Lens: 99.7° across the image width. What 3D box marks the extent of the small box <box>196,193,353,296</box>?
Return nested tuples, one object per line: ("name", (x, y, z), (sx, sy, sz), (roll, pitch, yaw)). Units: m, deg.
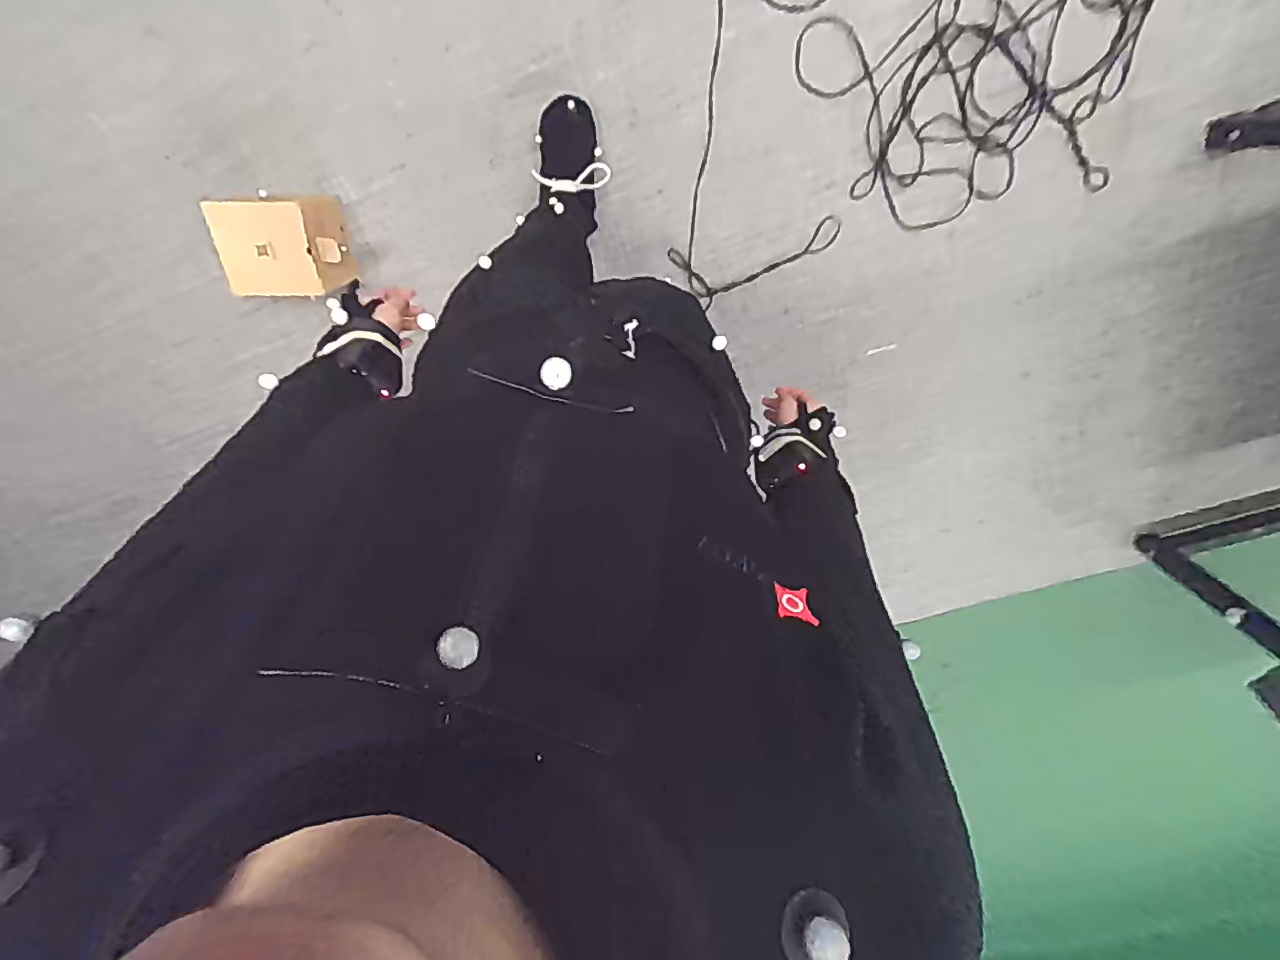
("small box", (-0.705, -0.466, 1.066), (0.179, 0.176, 0.168), (-1, 121, -3))
